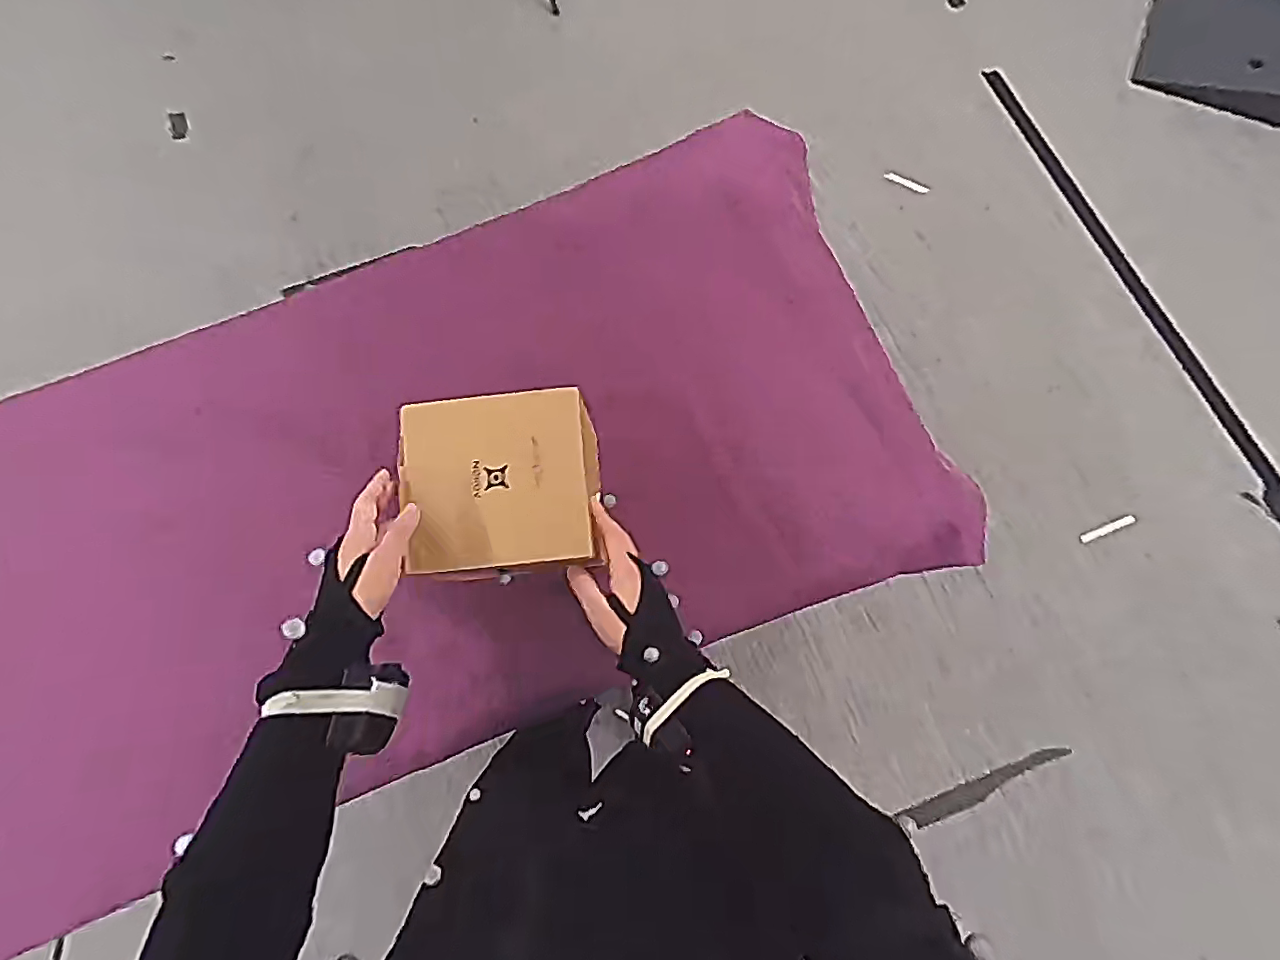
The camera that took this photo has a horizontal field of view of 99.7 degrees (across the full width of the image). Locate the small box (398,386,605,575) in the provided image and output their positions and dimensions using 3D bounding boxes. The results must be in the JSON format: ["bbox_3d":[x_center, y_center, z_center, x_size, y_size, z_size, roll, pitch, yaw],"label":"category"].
[{"bbox_3d":[-0.138,0.012,0.586,0.179,0.176,0.168,-6,79,0],"label":"small box"}]
